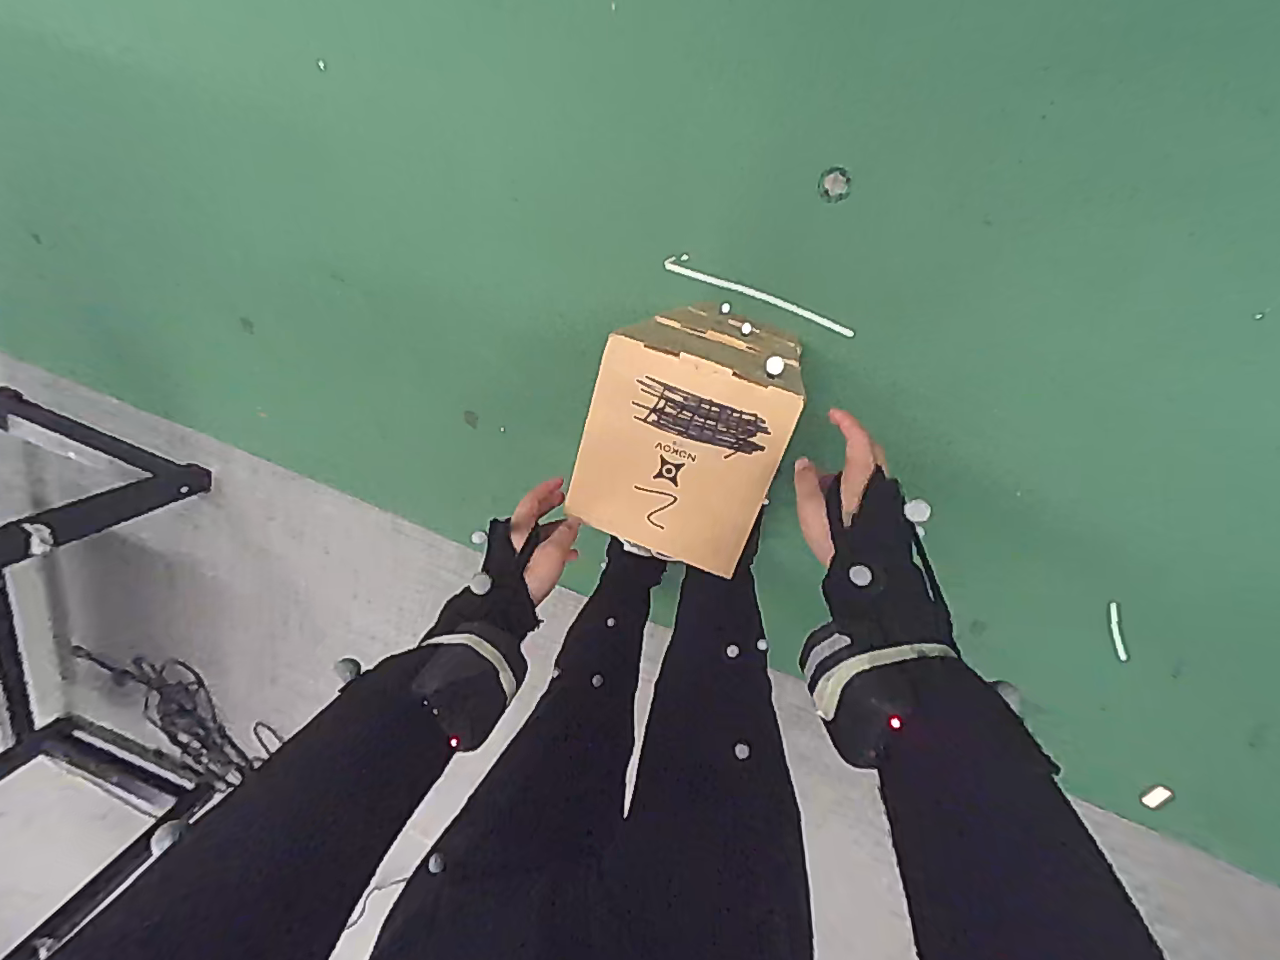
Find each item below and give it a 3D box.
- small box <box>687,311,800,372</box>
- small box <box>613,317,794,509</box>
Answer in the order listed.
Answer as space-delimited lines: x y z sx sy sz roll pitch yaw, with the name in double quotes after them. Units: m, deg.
0.129 -0.150 0.830 0.168 0.176 0.179 21 114 6 "small box"
0.084 -0.095 0.683 0.168 0.176 0.179 20 112 6 "small box"
